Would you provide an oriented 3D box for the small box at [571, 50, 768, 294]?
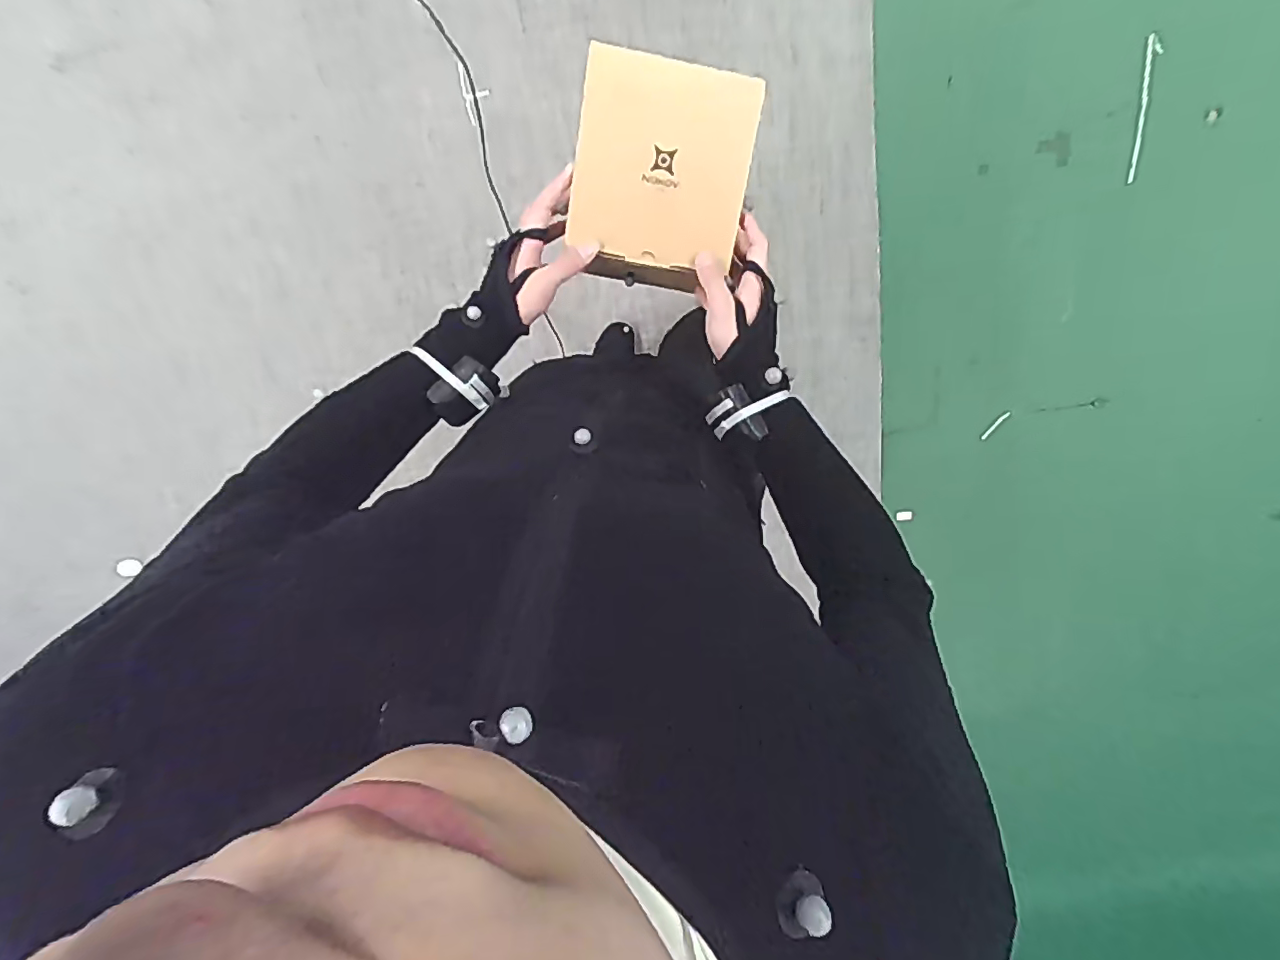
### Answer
[{"bbox_3d":[0.021,-0.313,0.592,0.168,0.176,0.179,9,104,-6],"label":"small box"}]
